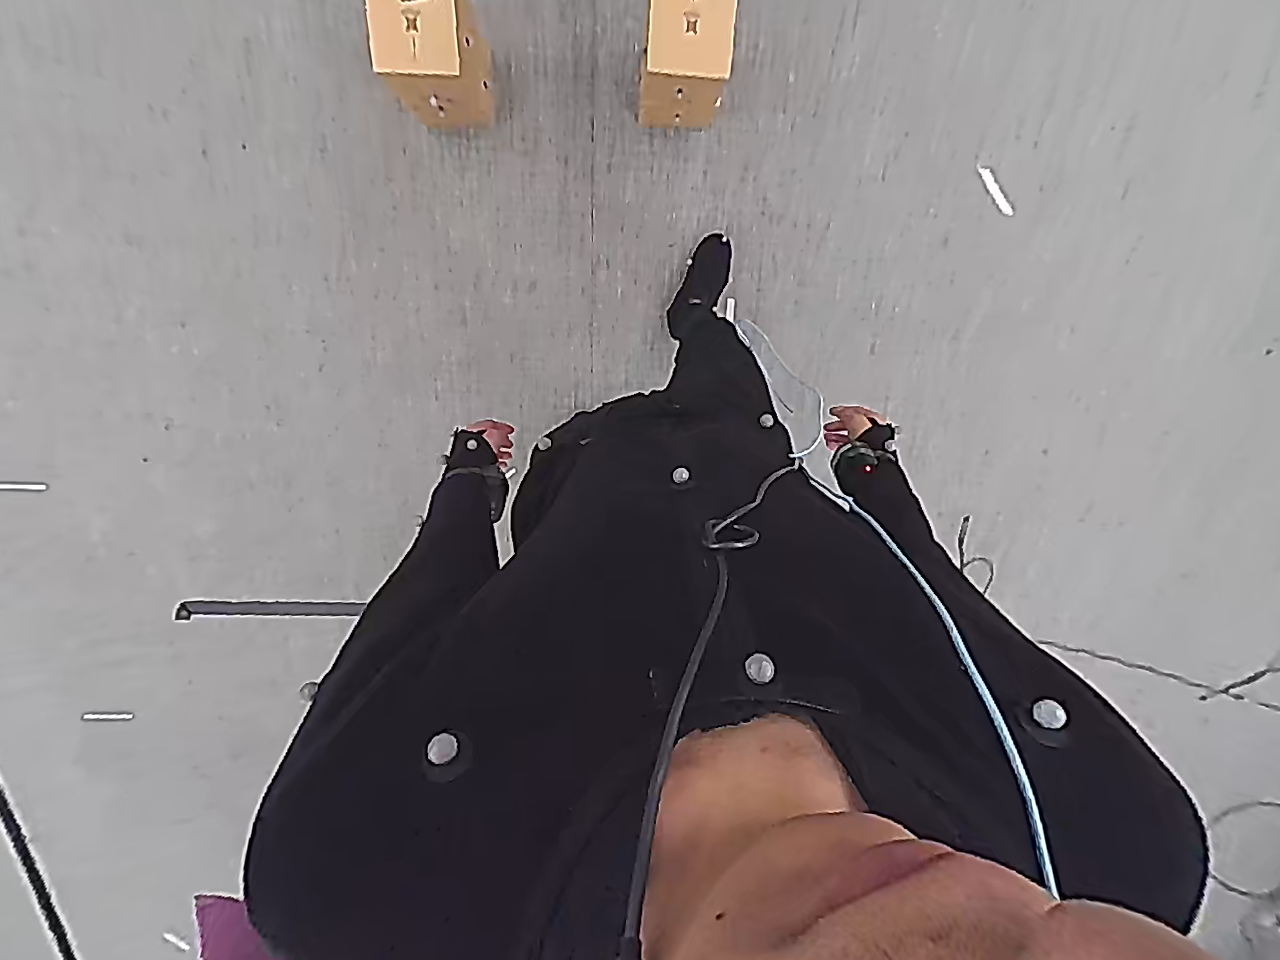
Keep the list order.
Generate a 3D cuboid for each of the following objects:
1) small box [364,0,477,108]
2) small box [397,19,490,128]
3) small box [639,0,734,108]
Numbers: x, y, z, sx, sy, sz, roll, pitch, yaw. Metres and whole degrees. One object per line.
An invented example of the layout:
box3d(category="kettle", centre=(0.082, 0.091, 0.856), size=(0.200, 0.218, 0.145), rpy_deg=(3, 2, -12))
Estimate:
box3d(category="small box", centre=(-0.430, -0.875, 1.076), size=(0.168, 0.176, 0.179), rpy_deg=(1, 109, -3))
box3d(category="small box", centre=(-0.444, -0.924, 1.232), size=(0.179, 0.176, 0.168), rpy_deg=(0, 108, -3))
box3d(category="small box", centre=(0.088, -0.889, 1.102), size=(0.168, 0.176, 0.179), rpy_deg=(3, 108, -5))
